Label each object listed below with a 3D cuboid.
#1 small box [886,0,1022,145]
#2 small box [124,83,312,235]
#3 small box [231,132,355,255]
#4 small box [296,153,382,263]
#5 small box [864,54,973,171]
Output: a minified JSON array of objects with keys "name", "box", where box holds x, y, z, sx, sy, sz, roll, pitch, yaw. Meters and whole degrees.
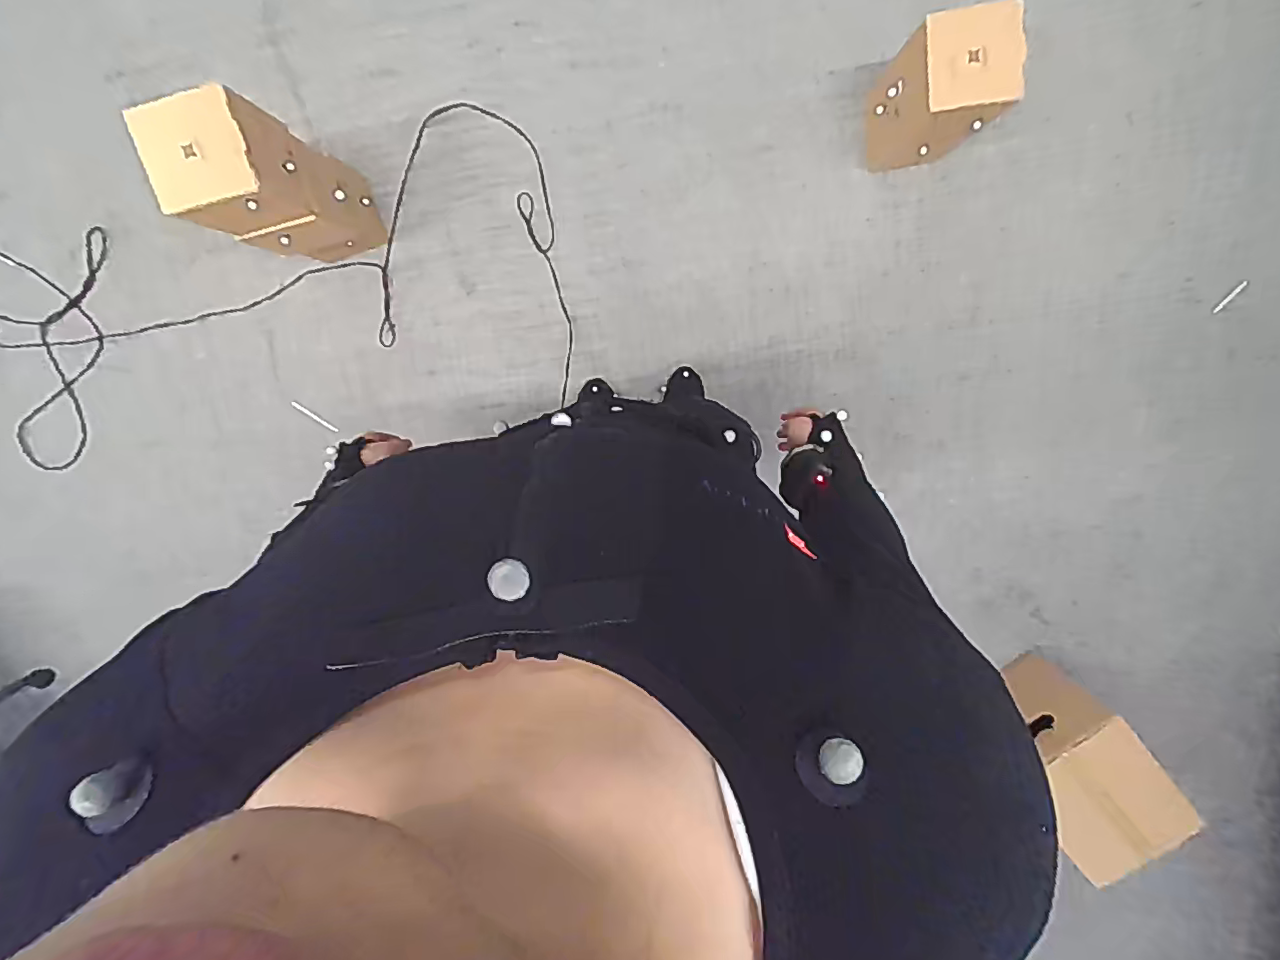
[{"name":"small box","box":[0.611,-0.793,1.067,0.179,0.176,0.168,-8,101,4]},{"name":"small box","box":[-0.740,-0.559,0.969,0.179,0.176,0.168,-14,102,3]},{"name":"small box","box":[-0.741,-0.586,1.129,0.179,0.176,0.168,-13,102,3]},{"name":"small box","box":[-0.746,-0.637,1.286,0.179,0.176,0.168,-17,101,5]},{"name":"small box","box":[0.621,-0.834,1.224,0.168,0.176,0.179,-8,101,3]}]
